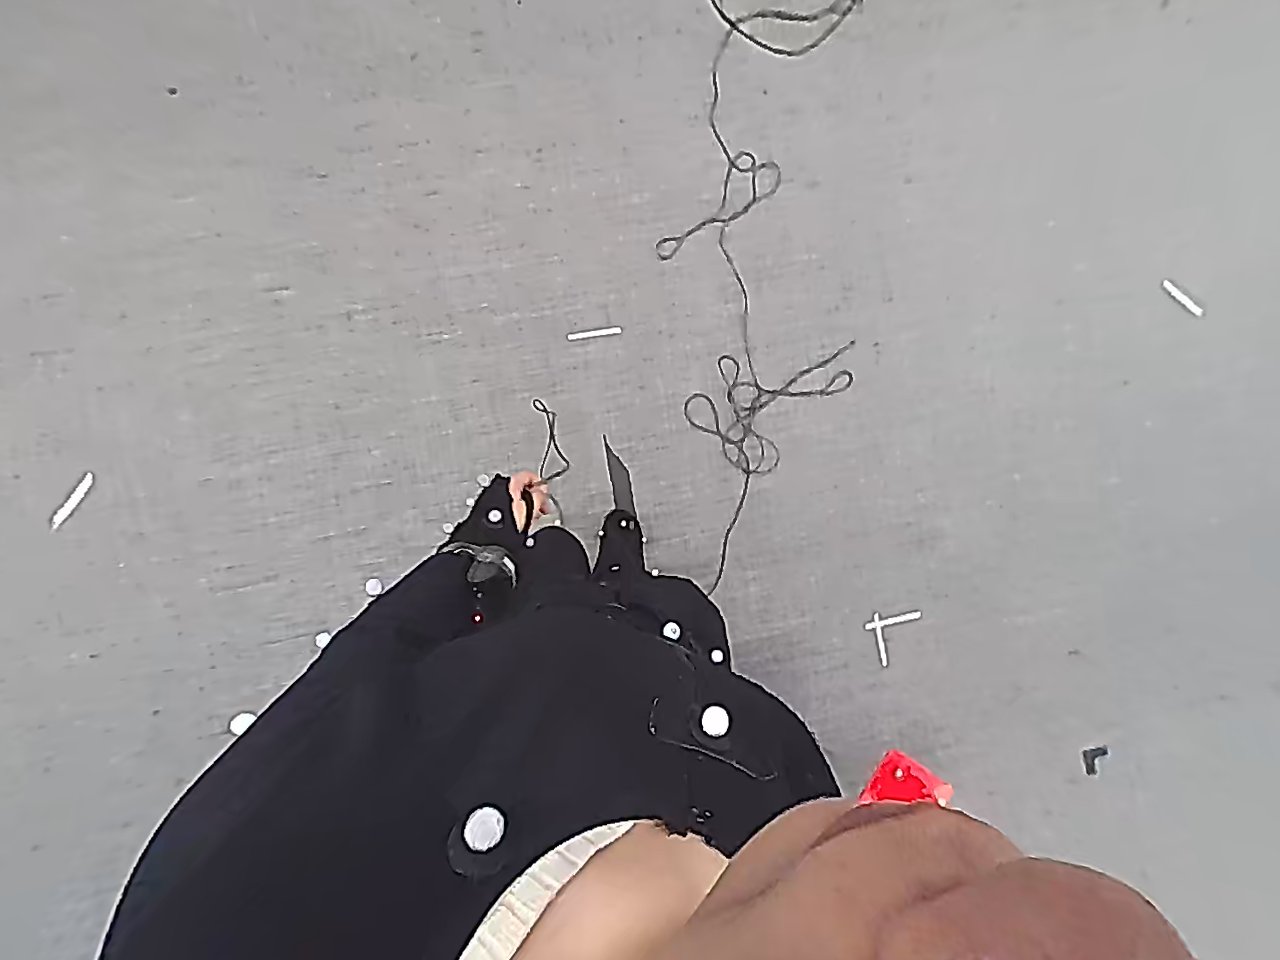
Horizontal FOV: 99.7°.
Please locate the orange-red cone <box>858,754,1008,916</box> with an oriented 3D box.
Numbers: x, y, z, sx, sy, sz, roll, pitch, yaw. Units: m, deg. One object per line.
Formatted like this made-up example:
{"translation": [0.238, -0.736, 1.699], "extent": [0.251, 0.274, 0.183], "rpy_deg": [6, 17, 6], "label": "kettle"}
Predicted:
{"translation": [0.688, 0.828, 1.218], "extent": [0.198, 0.360, 0.199], "rpy_deg": [35, 88, -1], "label": "orange-red cone"}
